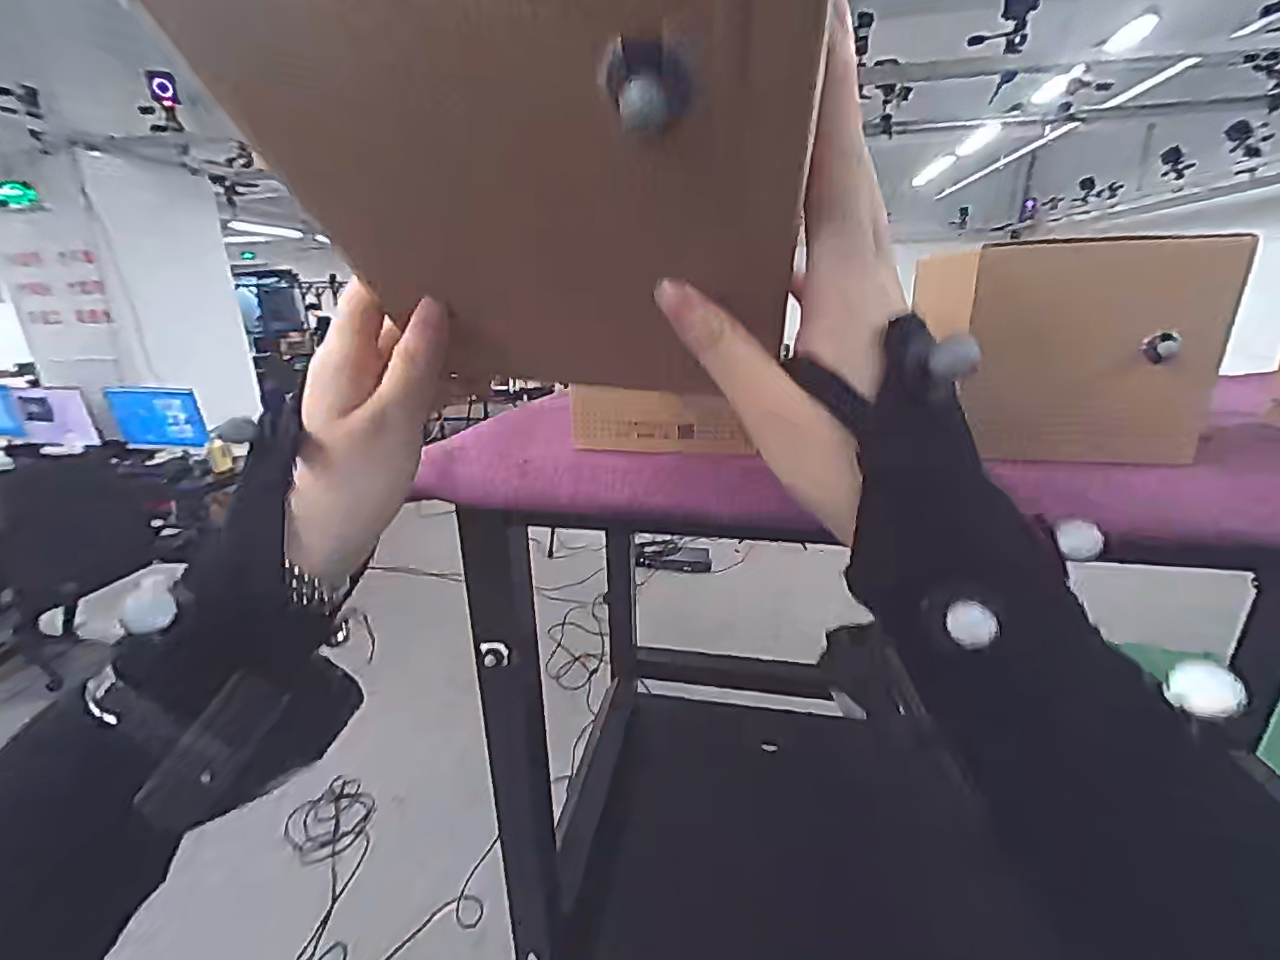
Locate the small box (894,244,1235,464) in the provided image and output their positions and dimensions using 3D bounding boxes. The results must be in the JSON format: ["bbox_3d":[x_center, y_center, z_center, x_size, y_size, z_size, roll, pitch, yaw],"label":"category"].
[{"bbox_3d":[0.352,-0.114,0.494,0.179,0.176,0.168,1,17,10],"label":"small box"}]

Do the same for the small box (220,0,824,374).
[{"bbox_3d":[-0.017,-0.164,0.237,0.179,0.168,0.176,7,-25,10],"label":"small box"}]

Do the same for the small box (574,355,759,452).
[{"bbox_3d":[0.035,-0.130,0.542,0.168,0.176,0.179,4,18,9],"label":"small box"}]
